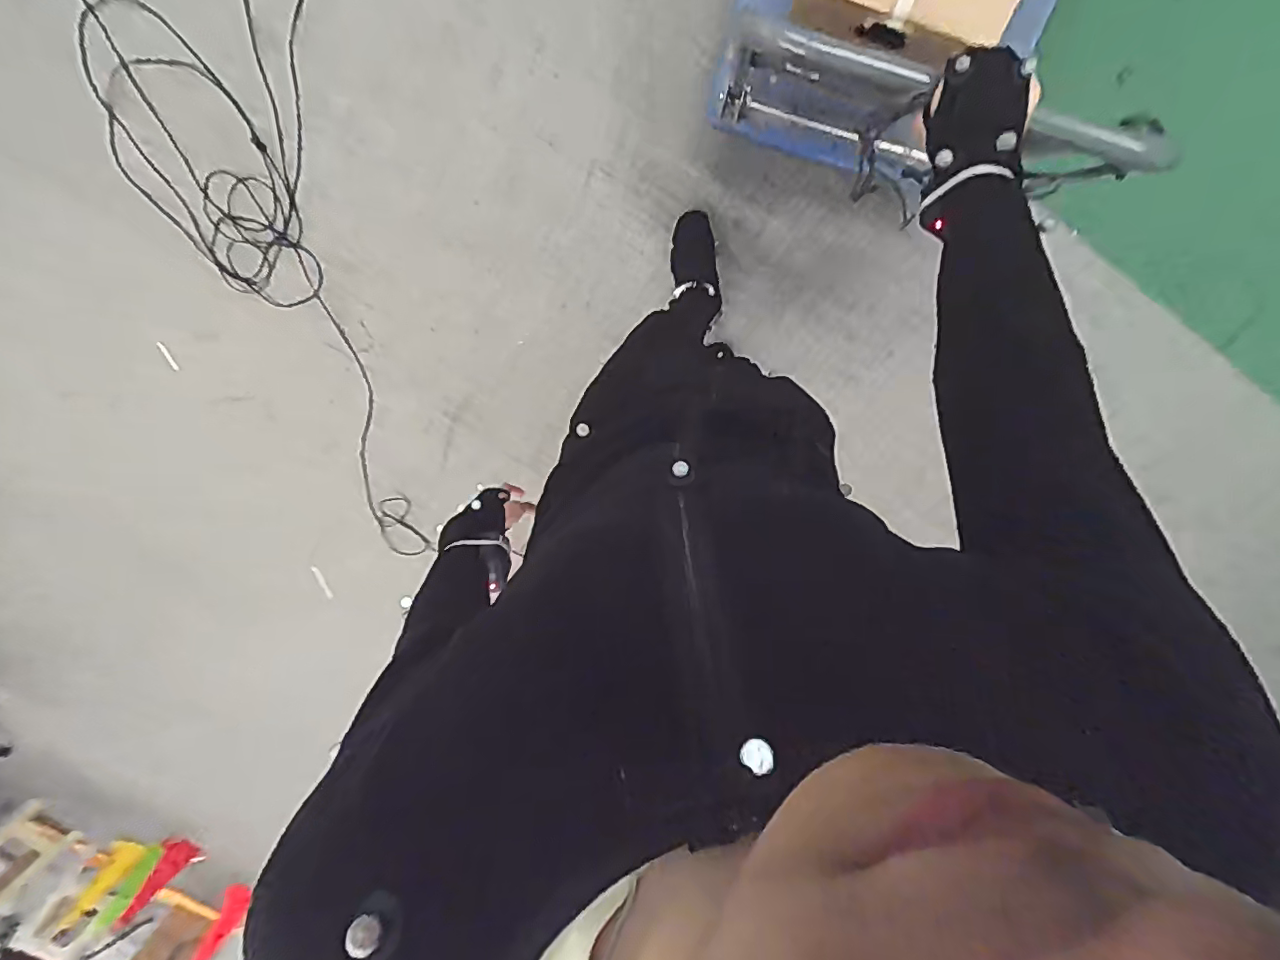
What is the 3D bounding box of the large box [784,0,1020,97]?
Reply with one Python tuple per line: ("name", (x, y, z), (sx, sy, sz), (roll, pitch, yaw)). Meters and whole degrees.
("large box", (0.459, -0.912, 0.854), (0.320, 0.320, 0.408), (19, 114, -2))
